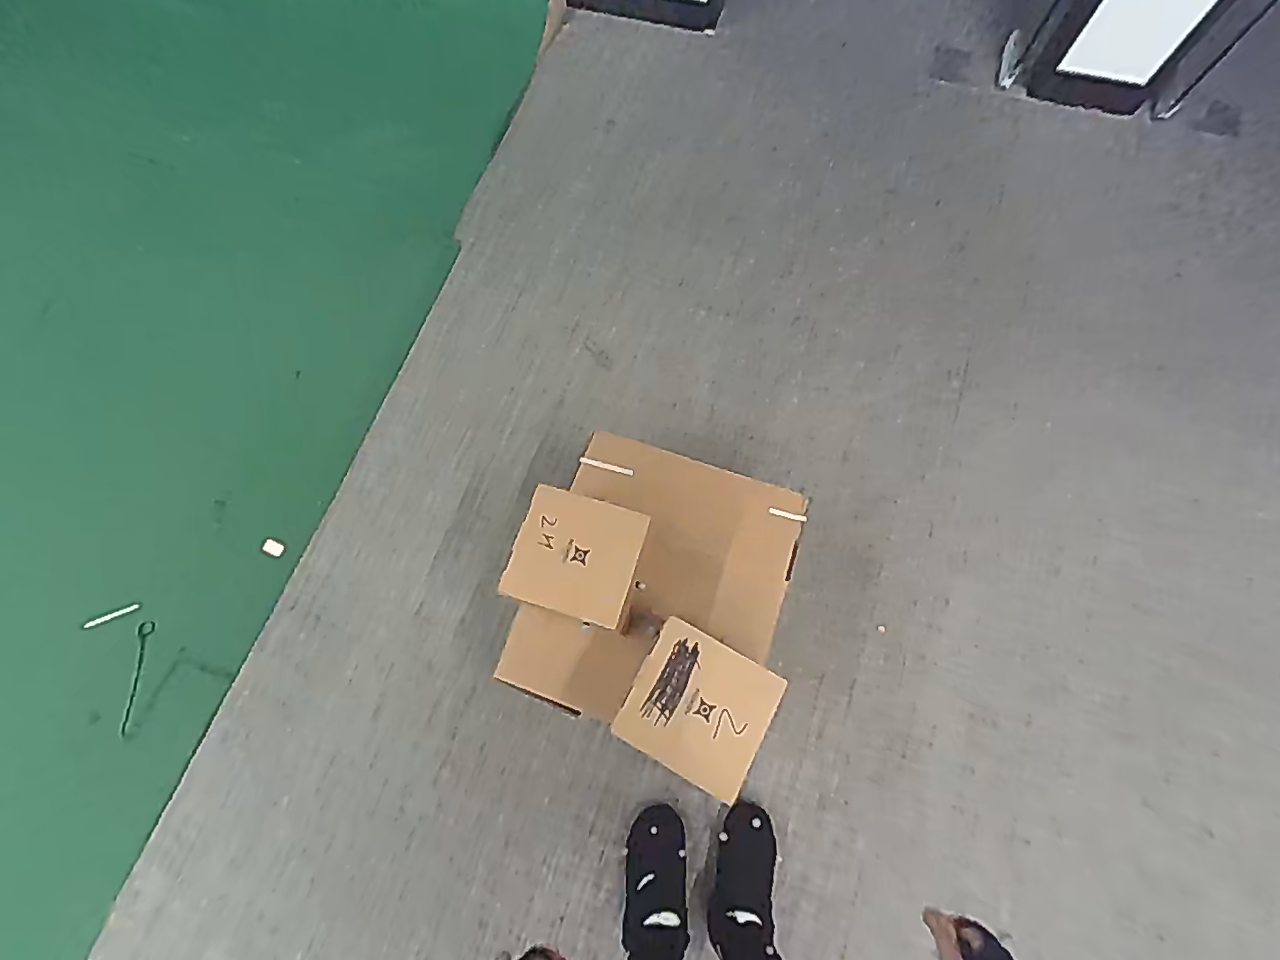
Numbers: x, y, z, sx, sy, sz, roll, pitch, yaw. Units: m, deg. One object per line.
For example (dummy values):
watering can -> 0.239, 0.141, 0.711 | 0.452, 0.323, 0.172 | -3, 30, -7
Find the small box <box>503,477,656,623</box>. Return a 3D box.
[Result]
small box -> -0.080, 0.115, 0.828 | 0.179, 0.176, 0.168 | 16, 74, 8
